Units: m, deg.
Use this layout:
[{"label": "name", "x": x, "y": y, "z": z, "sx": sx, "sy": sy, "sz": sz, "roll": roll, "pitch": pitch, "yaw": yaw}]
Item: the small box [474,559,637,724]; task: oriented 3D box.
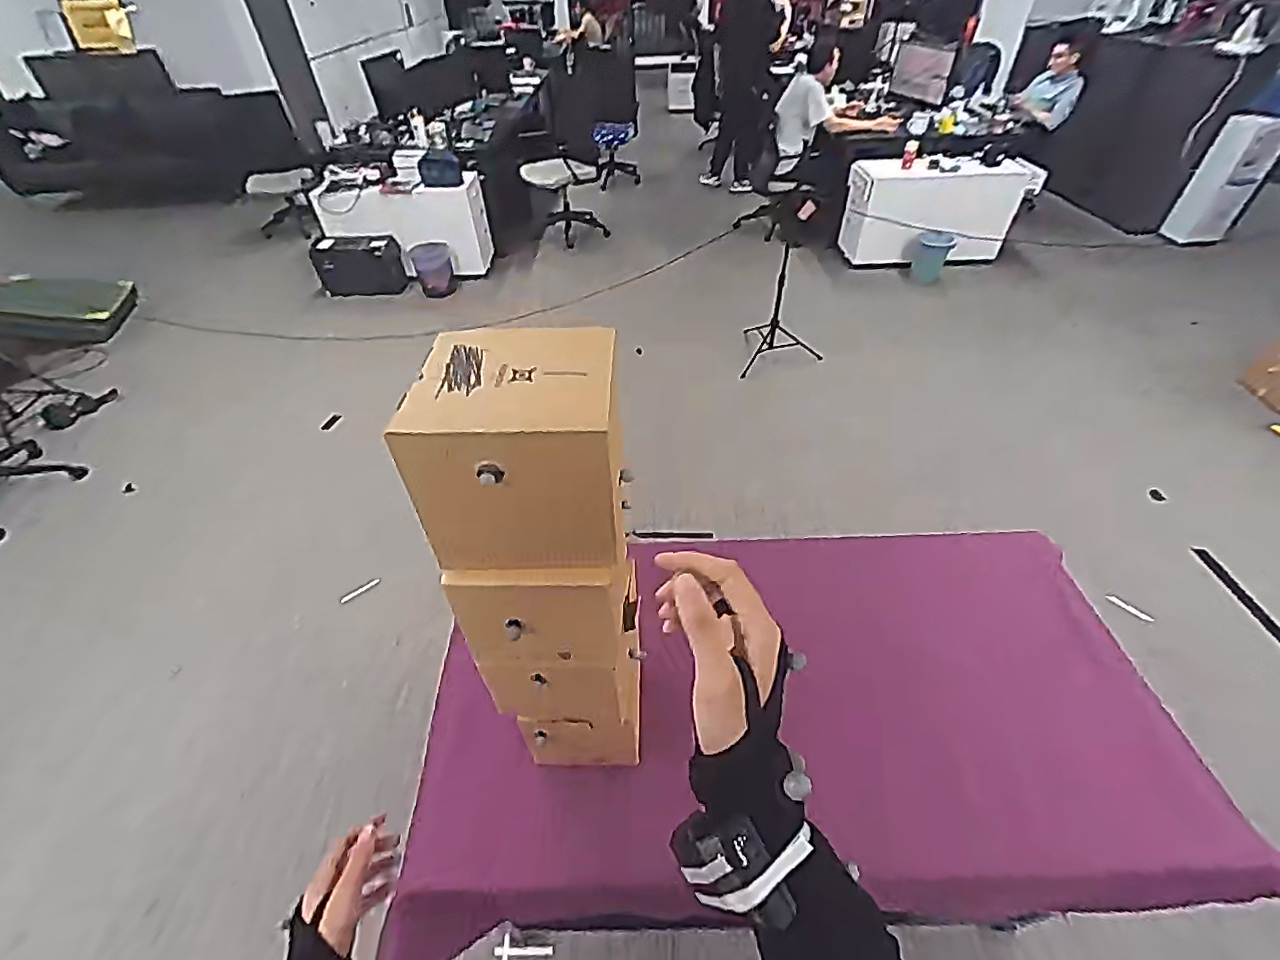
[{"label": "small box", "x": -0.102, "y": 0.218, "z": 0.747, "sx": 0.179, "sy": 0.176, "sz": 0.168, "roll": 4, "pitch": 44, "yaw": 6}]

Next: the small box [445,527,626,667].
[{"label": "small box", "x": -0.104, "y": 0.102, "z": 0.633, "sx": 0.168, "sy": 0.176, "sz": 0.179, "roll": 0, "pitch": 42, "yaw": 2}]

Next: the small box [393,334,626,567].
[{"label": "small box", "x": -0.106, "y": -0.028, "z": 0.532, "sx": 0.179, "sy": 0.176, "sz": 0.168, "roll": 0, "pitch": 43, "yaw": 0}]
